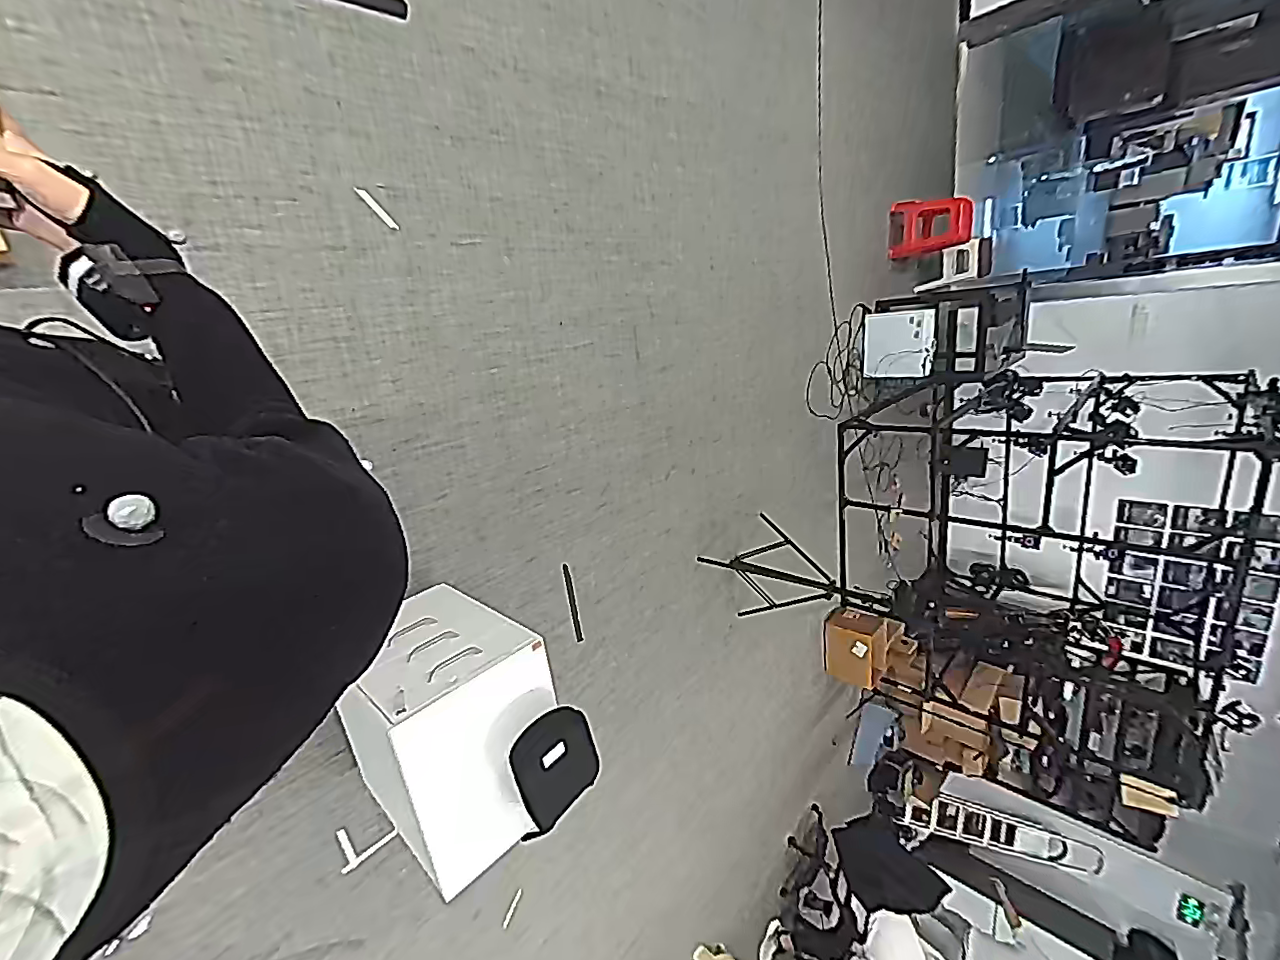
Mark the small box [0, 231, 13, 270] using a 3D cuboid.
[{"bbox_3d":[-1.241,-0.463,0.931,0.168,0.176,0.179,-24,114,-40],"label":"small box"}]
